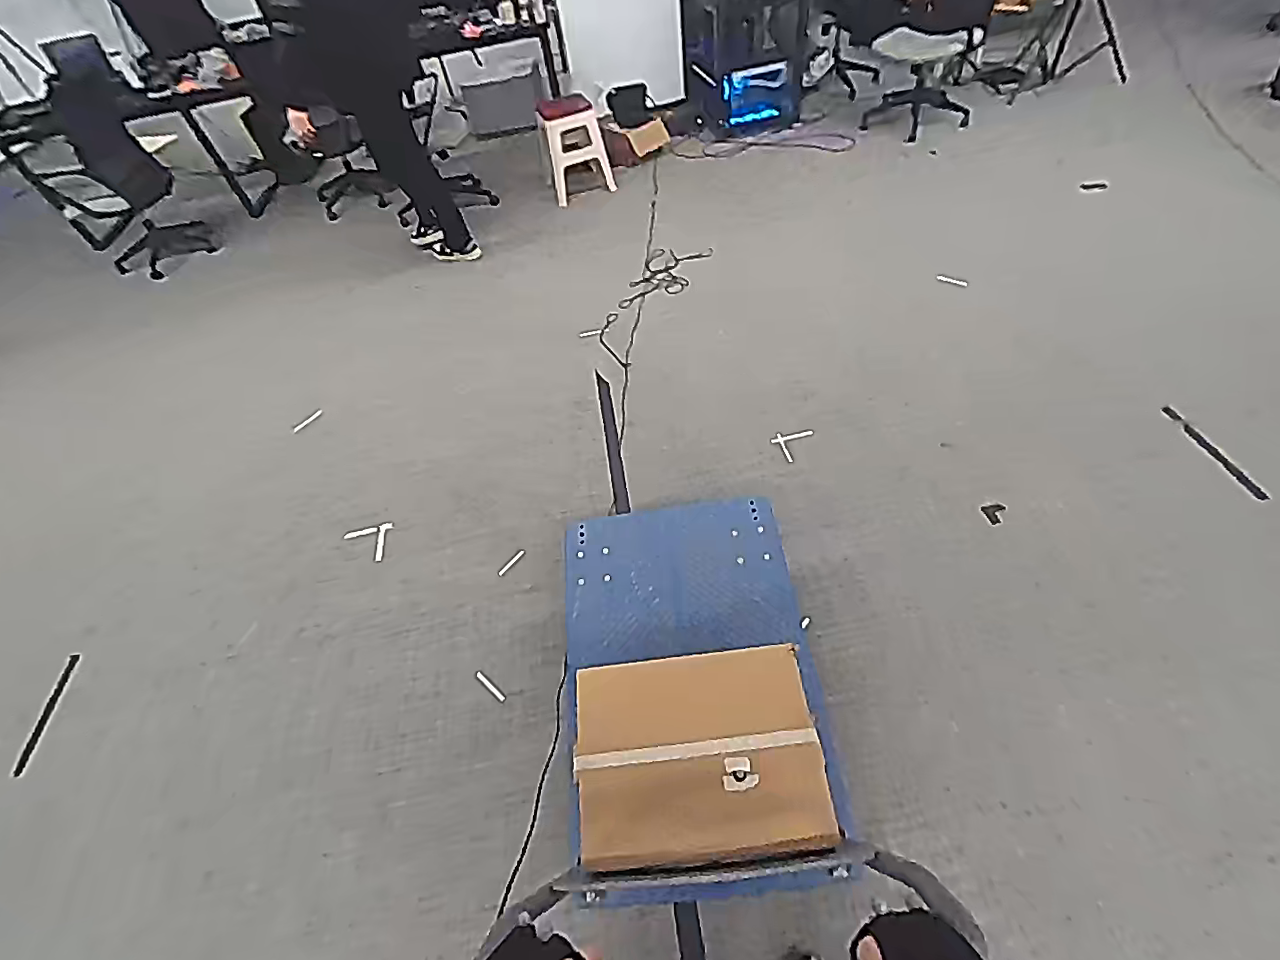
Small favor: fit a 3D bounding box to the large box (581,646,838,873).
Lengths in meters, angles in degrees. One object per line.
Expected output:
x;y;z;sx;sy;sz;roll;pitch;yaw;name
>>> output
0.114;0.547;1.053;0.408;0.320;0.320;-8;56;2;large box
